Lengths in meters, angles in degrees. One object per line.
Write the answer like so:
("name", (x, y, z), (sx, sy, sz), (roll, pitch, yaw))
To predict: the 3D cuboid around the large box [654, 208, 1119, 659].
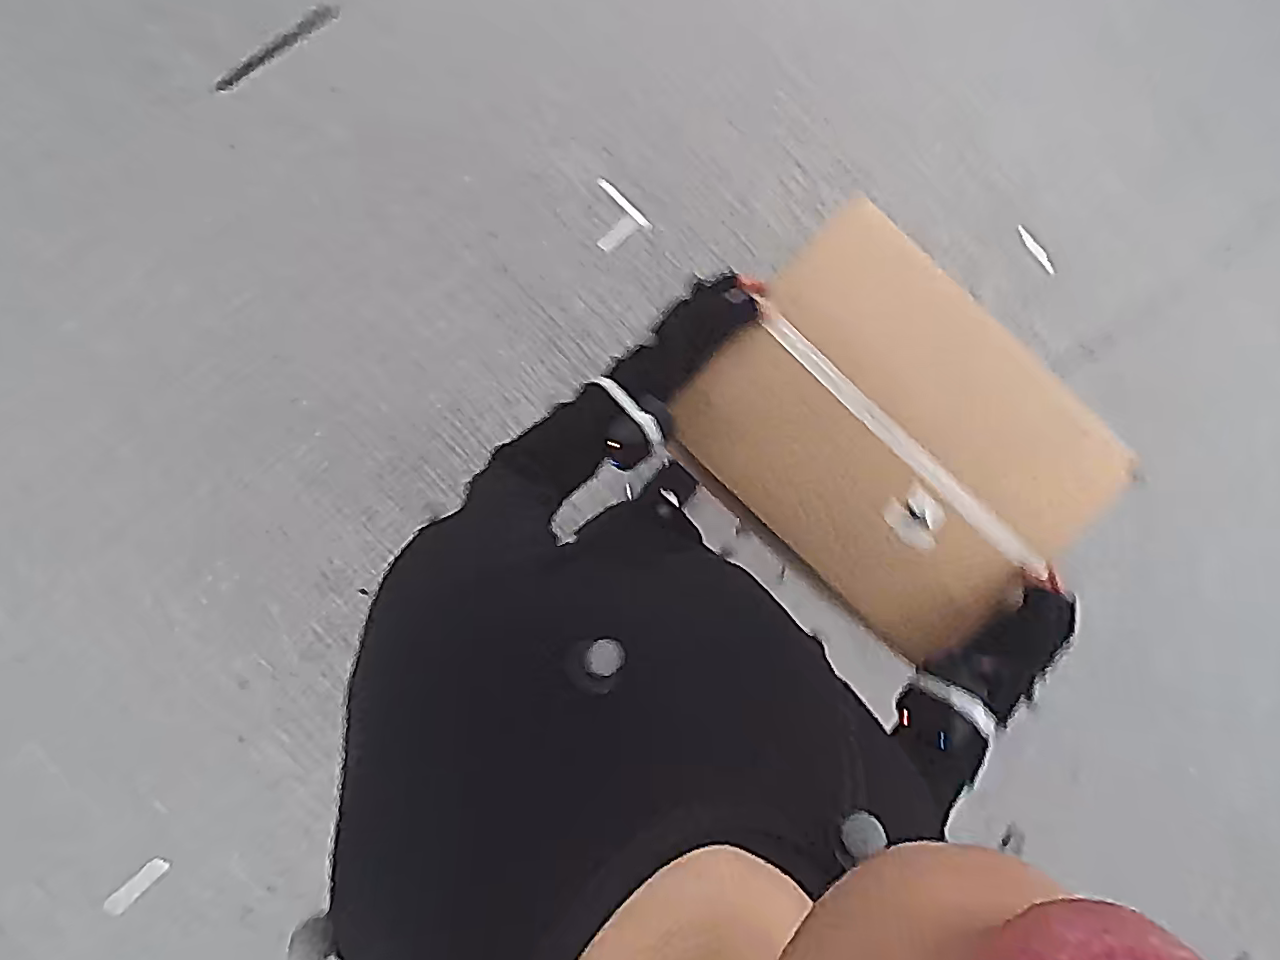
("large box", (0.266, -0.052, 0.725), (0.408, 0.320, 0.320), (44, 92, -1))
